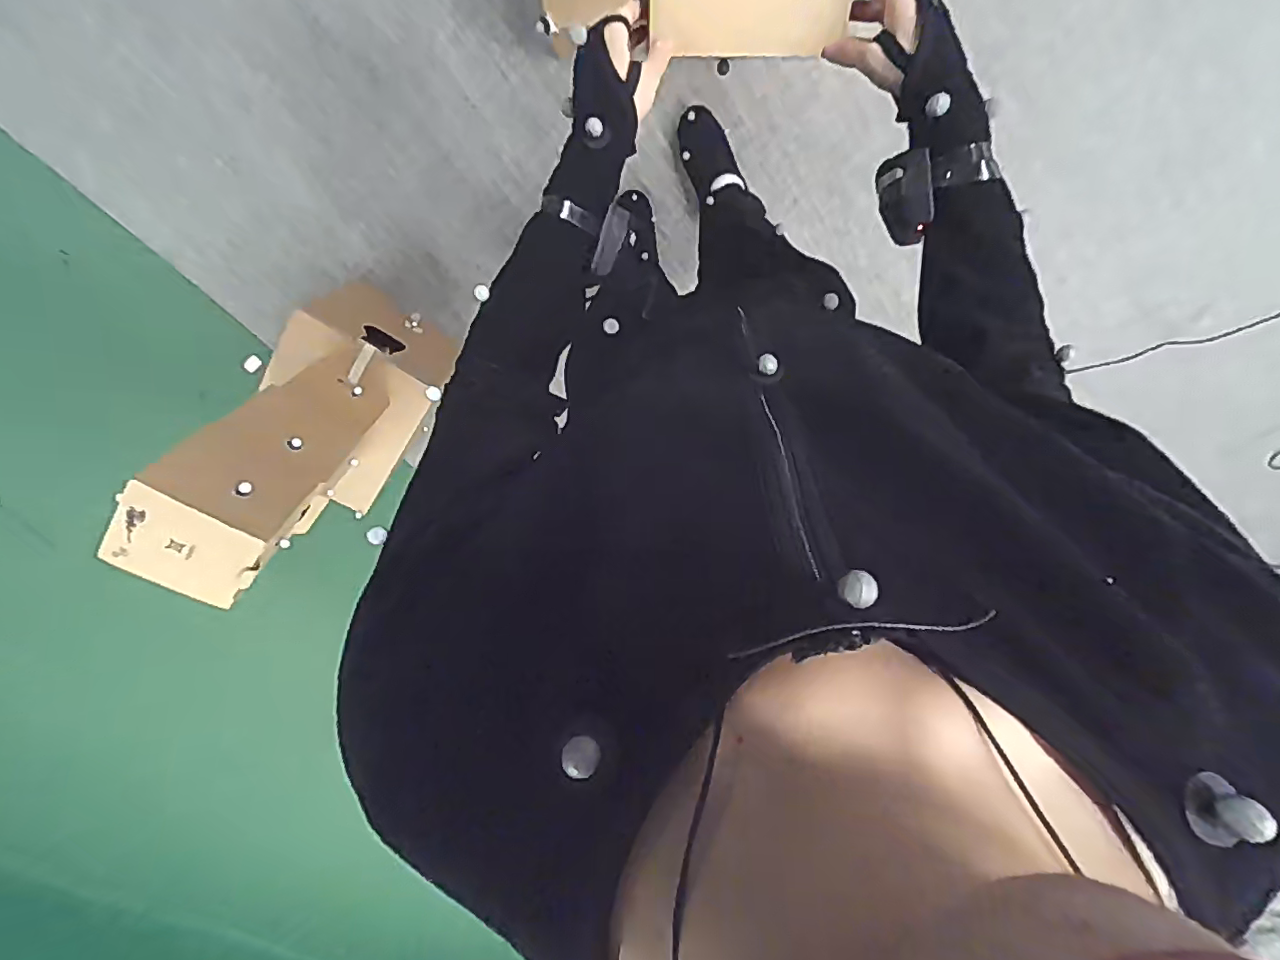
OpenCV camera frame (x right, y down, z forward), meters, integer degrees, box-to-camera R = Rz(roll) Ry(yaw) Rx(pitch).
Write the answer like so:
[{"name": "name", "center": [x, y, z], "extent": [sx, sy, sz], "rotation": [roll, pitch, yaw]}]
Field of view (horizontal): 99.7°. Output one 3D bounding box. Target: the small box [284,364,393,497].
[{"name": "small box", "center": [-0.639, -0.105, 1.107], "extent": [0.168, 0.176, 0.179], "rotation": [35, 113, -21]}]

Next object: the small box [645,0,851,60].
[{"name": "small box", "center": [0.089, -0.475, 0.463], "extent": [0.168, 0.176, 0.179], "rotation": [0, 129, -1]}]

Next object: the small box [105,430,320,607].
[{"name": "small box", "center": [-0.629, 0.053, 0.820], "extent": [0.179, 0.176, 0.168], "rotation": [35, 113, -22]}]

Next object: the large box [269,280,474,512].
[{"name": "large box", "center": [-0.662, -0.209, 1.330], "extent": [0.320, 0.320, 0.408], "rotation": [32, 115, -18]}]

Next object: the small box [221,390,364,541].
[{"name": "small box", "center": [-0.630, -0.031, 0.961], "extent": [0.179, 0.176, 0.168], "rotation": [36, 113, -21]}]
